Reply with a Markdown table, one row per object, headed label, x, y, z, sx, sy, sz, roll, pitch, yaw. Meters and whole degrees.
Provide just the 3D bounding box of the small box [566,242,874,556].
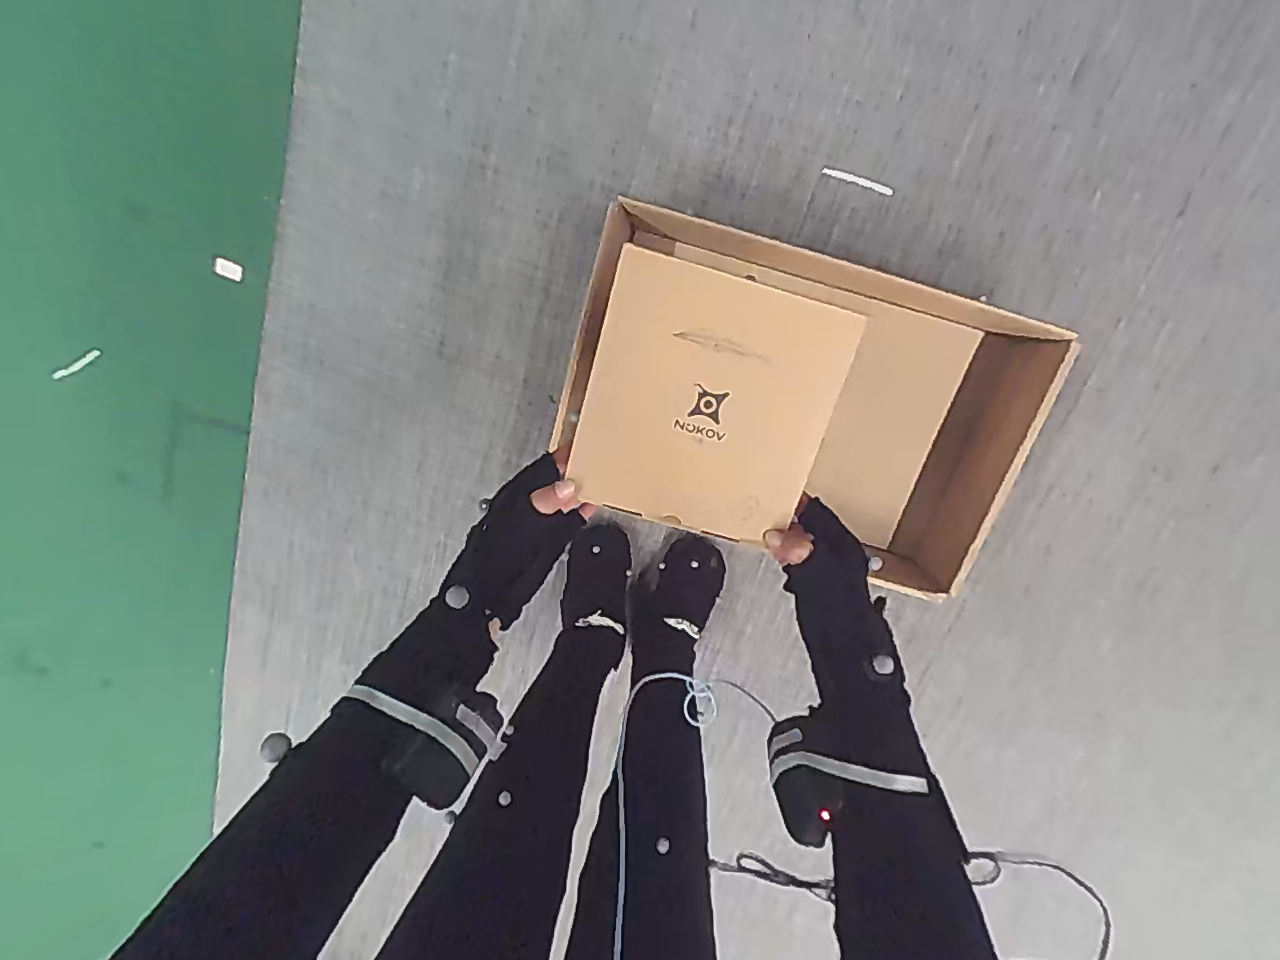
| label | x | y | z | sx | sy | sz | roll | pitch | yaw |
| --- | --- | --- | --- | --- | --- | --- | --- | --- | --- |
| small box | 0.051 | -0.068 | 0.438 | 0.168 | 0.176 | 0.179 | 16 | 106 | -3 |
